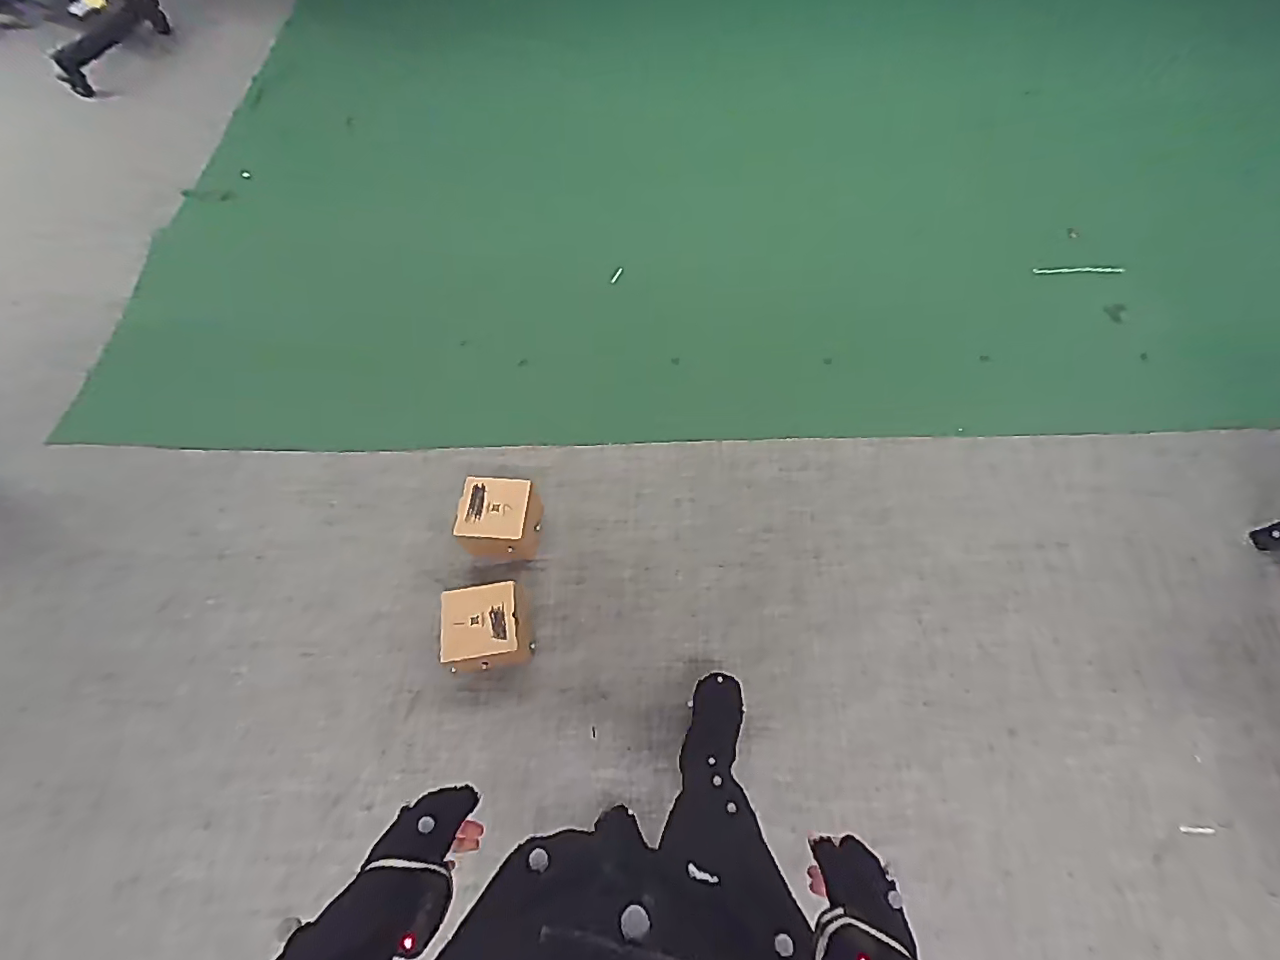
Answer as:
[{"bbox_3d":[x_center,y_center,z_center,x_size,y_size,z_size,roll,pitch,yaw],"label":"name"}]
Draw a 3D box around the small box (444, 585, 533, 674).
[{"bbox_3d":[-0.363,0.368,1.317,0.179,0.176,0.168,-9,63,-2],"label":"small box"}]
